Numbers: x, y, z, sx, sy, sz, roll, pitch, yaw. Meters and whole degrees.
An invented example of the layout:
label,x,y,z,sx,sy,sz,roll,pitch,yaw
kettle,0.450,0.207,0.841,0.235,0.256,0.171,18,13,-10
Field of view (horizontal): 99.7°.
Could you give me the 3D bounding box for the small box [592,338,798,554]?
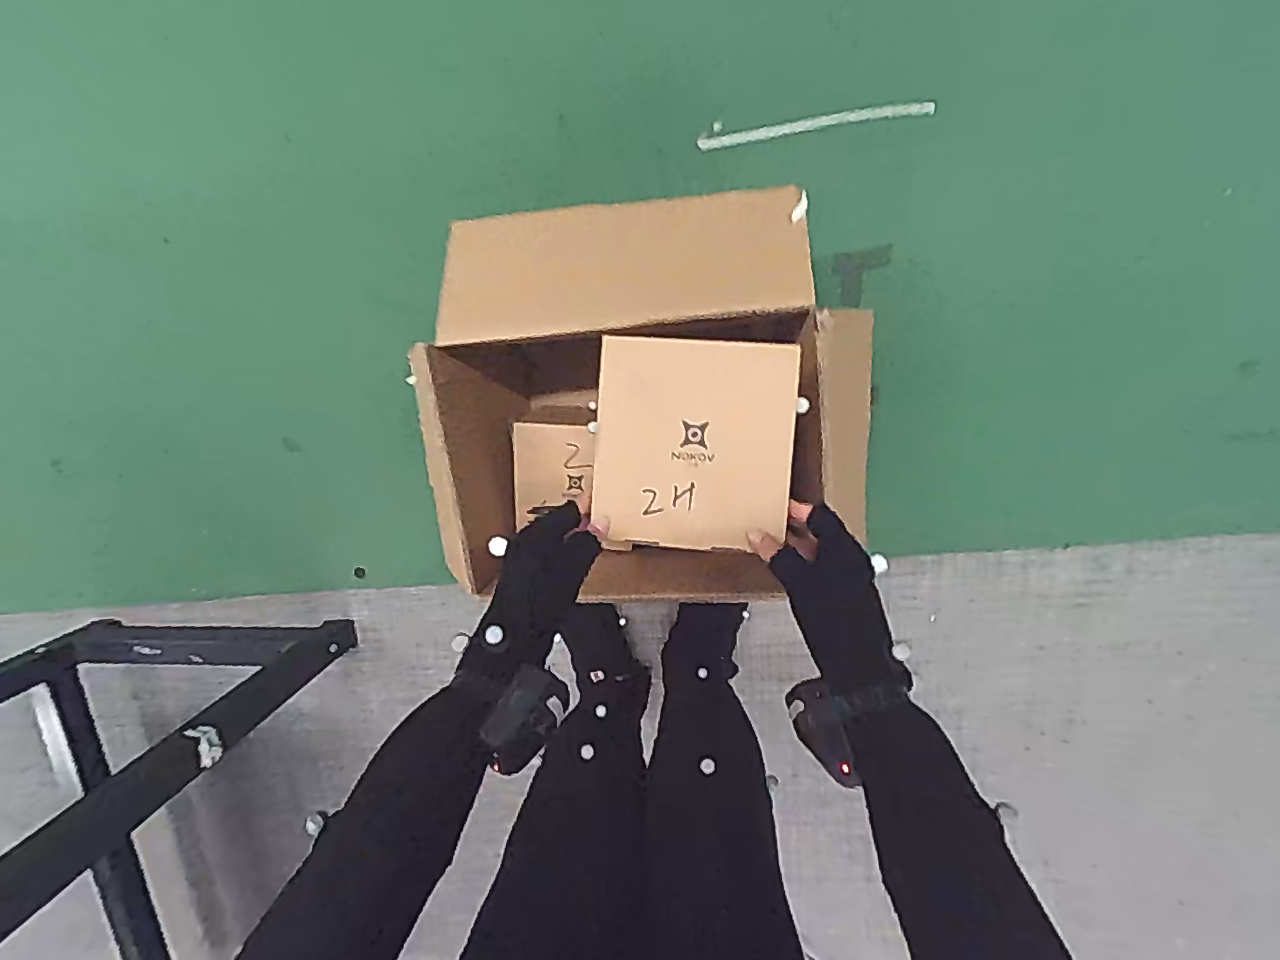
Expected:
label,x,y,z,sx,sy,sz,roll,pitch,yaw
small box,0.052,-0.033,0.538,0.168,0.176,0.179,4,94,6
